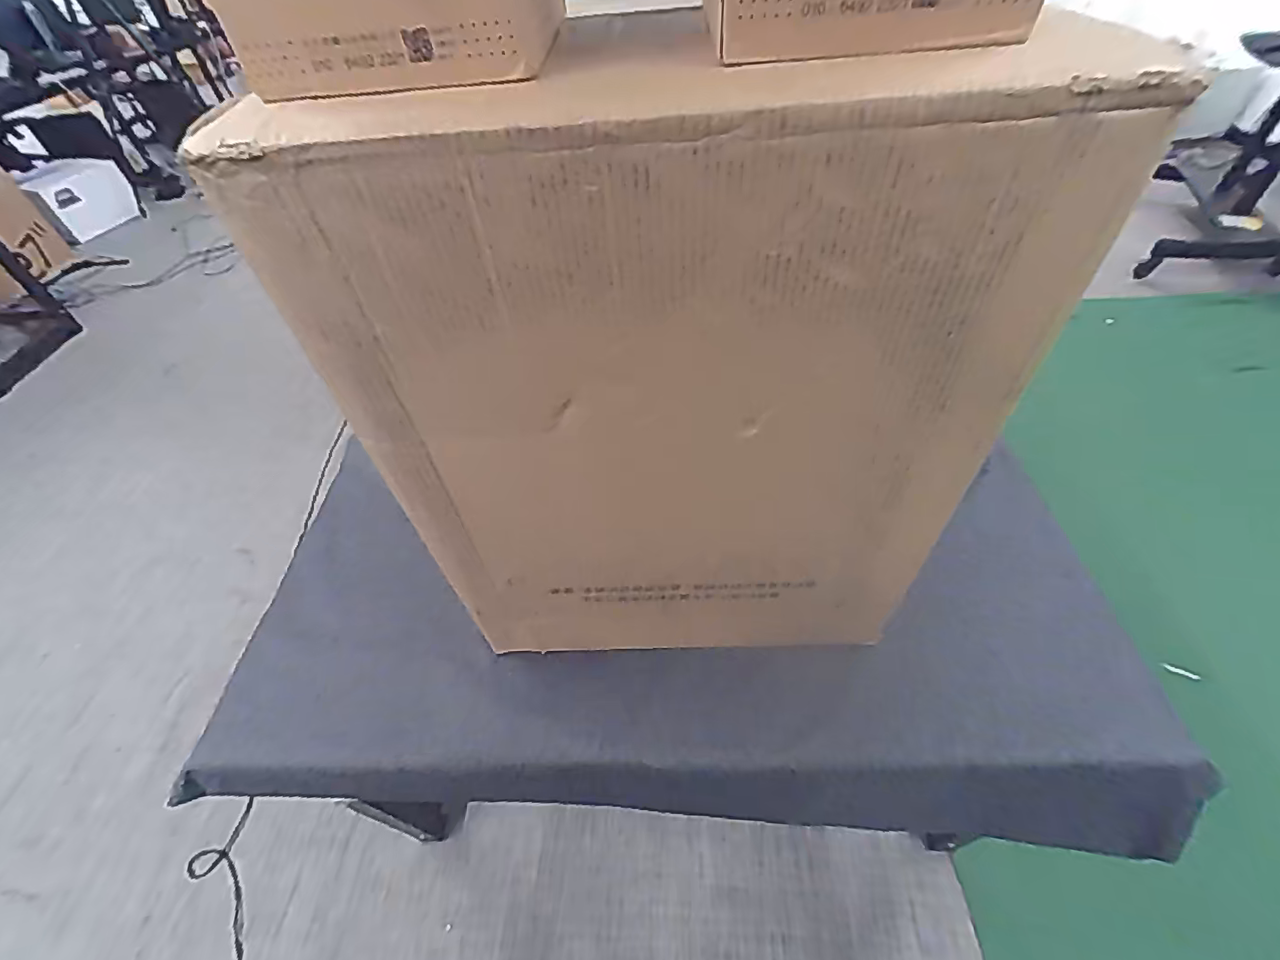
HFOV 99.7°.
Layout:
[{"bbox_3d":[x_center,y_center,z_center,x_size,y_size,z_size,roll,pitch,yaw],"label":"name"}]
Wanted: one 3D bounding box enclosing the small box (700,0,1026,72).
[{"bbox_3d":[0.123,-0.342,0.294,0.168,0.176,0.179,-1,49,1],"label":"small box"}]
